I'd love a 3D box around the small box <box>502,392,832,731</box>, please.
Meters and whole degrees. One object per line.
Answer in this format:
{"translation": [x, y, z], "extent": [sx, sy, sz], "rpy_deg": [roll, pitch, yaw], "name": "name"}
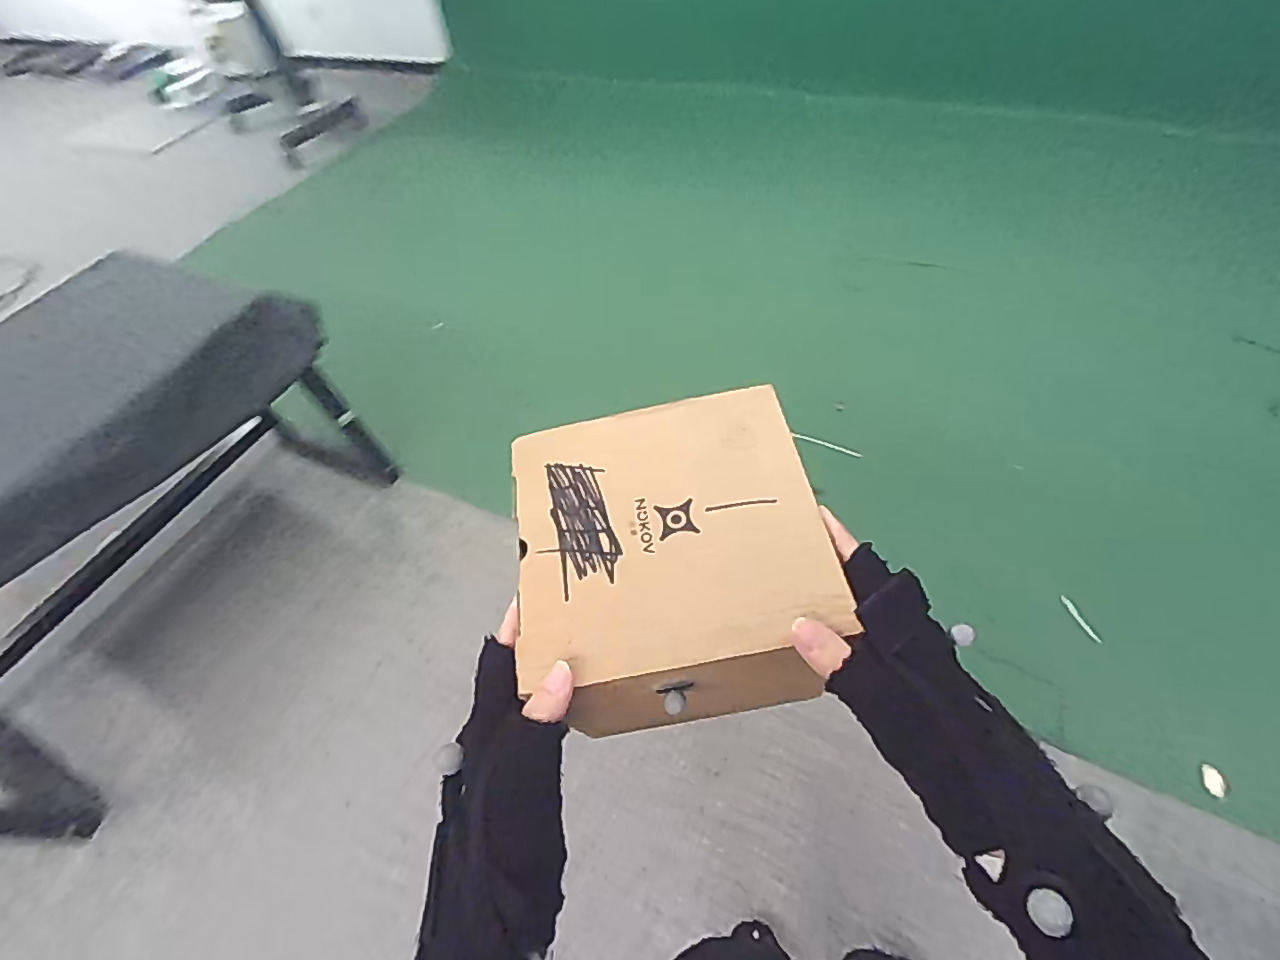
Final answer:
{"translation": [0.015, 0.068, 0.386], "extent": [0.179, 0.176, 0.168], "rpy_deg": [-12, 57, 2], "name": "small box"}
